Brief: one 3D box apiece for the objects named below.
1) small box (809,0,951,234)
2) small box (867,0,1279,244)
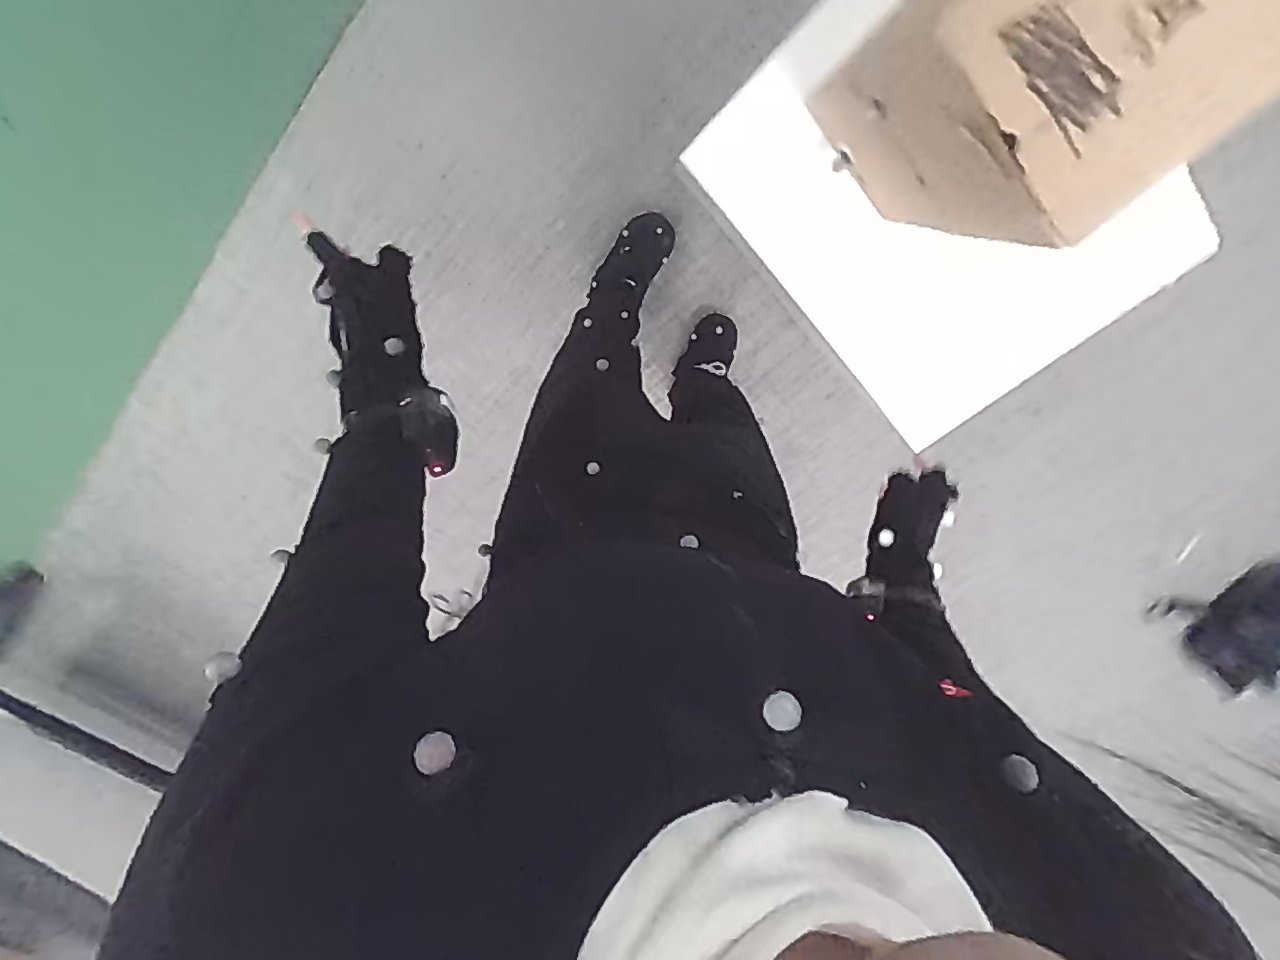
[{"bbox_3d":[0.289,-0.370,0.516,0.179,0.176,0.168,-40,109,23],"label":"small box"},{"bbox_3d":[0.282,-0.292,0.370,0.179,0.176,0.168,-39,110,20],"label":"small box"}]
